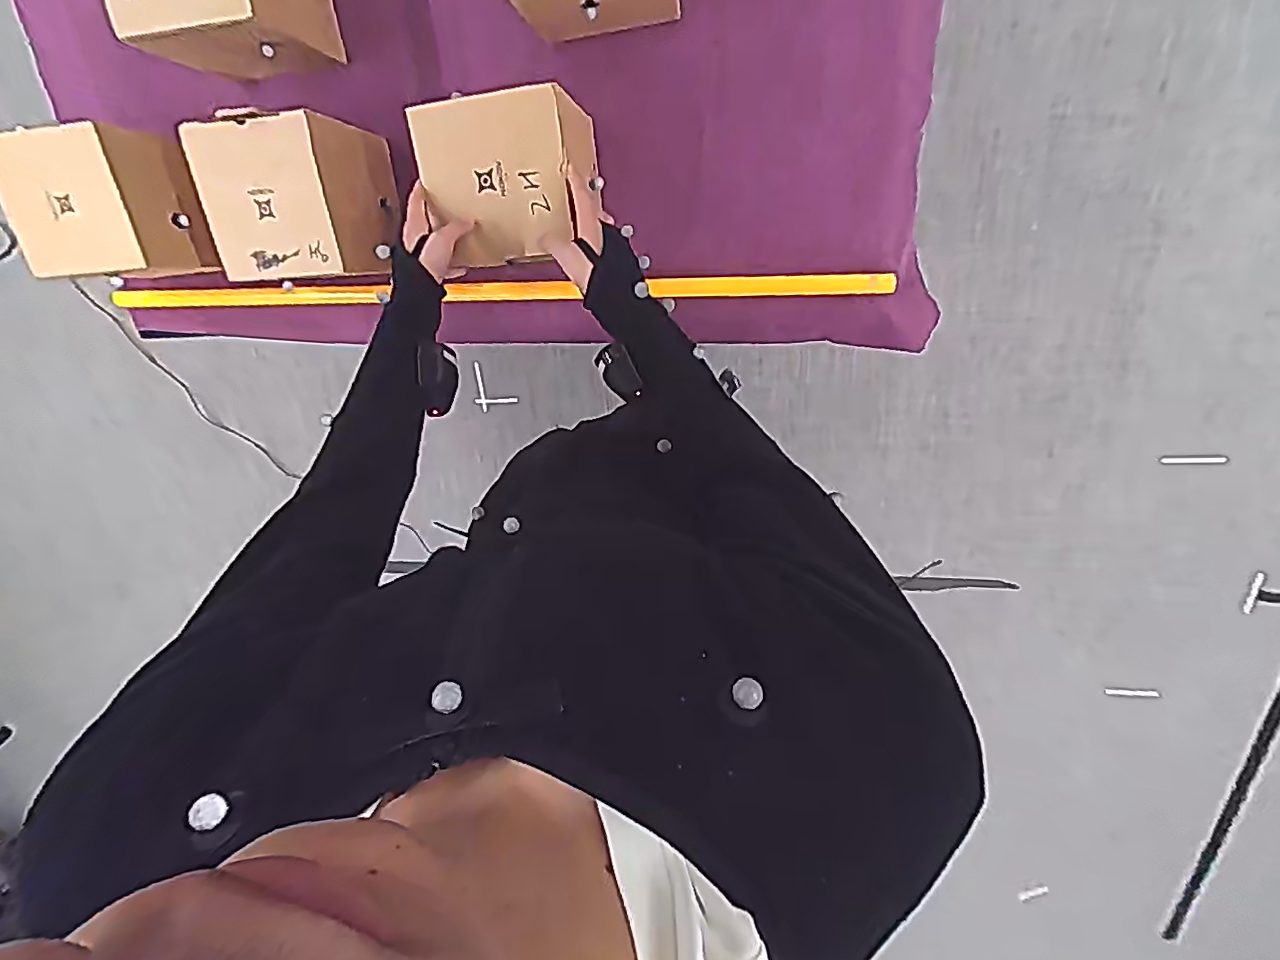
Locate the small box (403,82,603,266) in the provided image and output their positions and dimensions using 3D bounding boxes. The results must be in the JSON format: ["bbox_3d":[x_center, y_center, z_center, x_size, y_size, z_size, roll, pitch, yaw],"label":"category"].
[{"bbox_3d":[-0.155,-0.362,0.674,0.179,0.176,0.168,-2,111,10],"label":"small box"}]

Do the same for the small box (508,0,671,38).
[{"bbox_3d":[-0.057,-0.601,0.566,0.179,0.176,0.168,-2,112,10],"label":"small box"}]

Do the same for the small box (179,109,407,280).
[{"bbox_3d":[-0.439,-0.362,0.717,0.168,0.176,0.179,0,111,10],"label":"small box"}]

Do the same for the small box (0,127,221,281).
[{"bbox_3d":[-0.717,-0.372,0.752,0.179,0.176,0.168,-1,111,8],"label":"small box"}]
